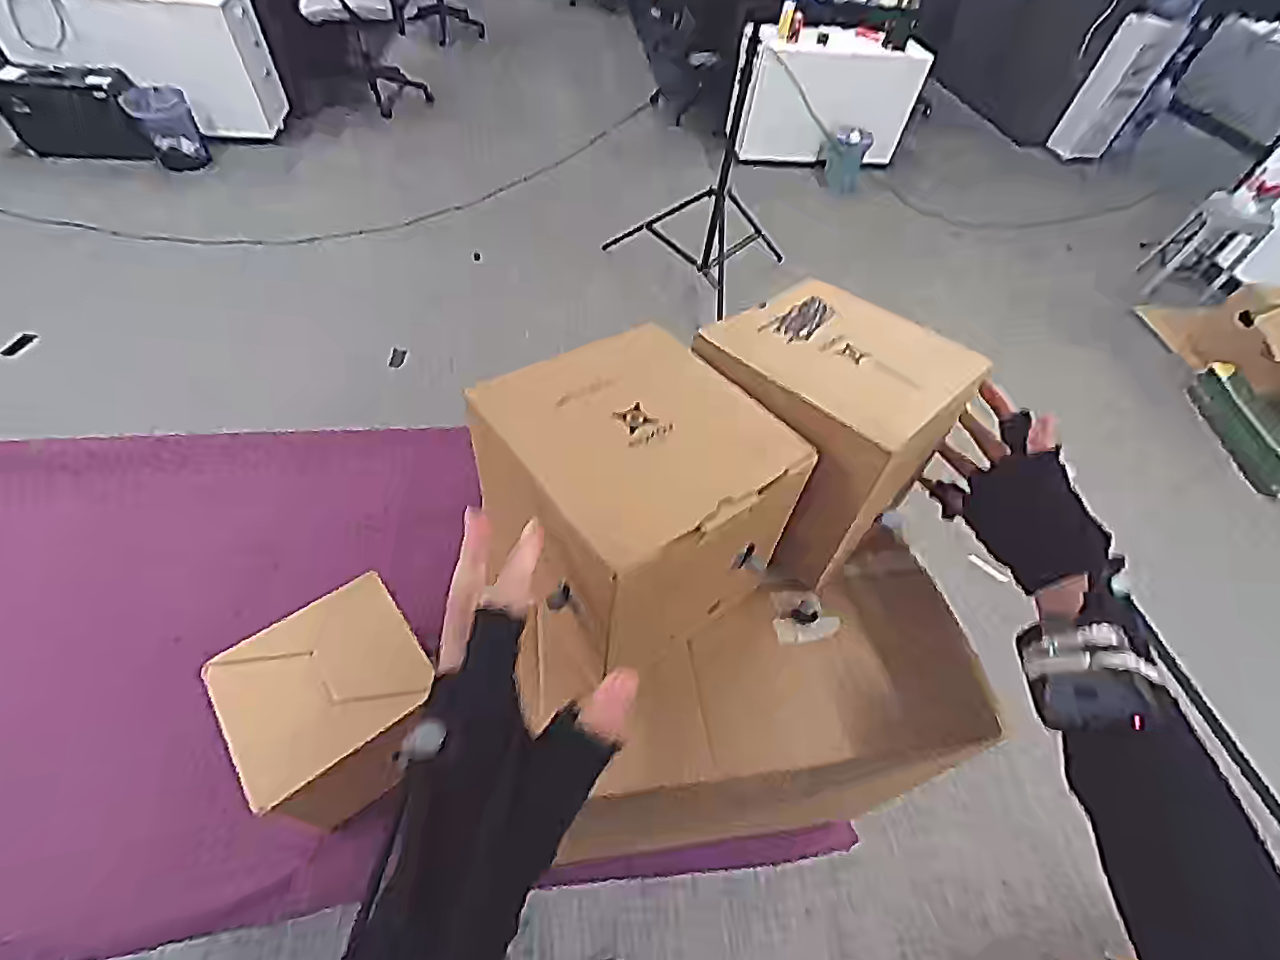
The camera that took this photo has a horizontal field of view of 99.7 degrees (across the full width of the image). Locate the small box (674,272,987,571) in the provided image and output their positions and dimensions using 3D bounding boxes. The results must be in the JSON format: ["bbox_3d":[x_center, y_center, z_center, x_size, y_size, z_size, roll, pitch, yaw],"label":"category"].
[{"bbox_3d":[0.147,-0.054,0.477,0.168,0.176,0.179,-30,55,-29],"label":"small box"}]

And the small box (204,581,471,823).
[{"bbox_3d":[-0.315,0.236,0.591,0.179,0.176,0.168,-31,61,-25],"label":"small box"}]

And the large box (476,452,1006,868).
[{"bbox_3d":[0.051,0.183,0.585,0.408,0.320,0.320,-3,50,-9],"label":"large box"}]
